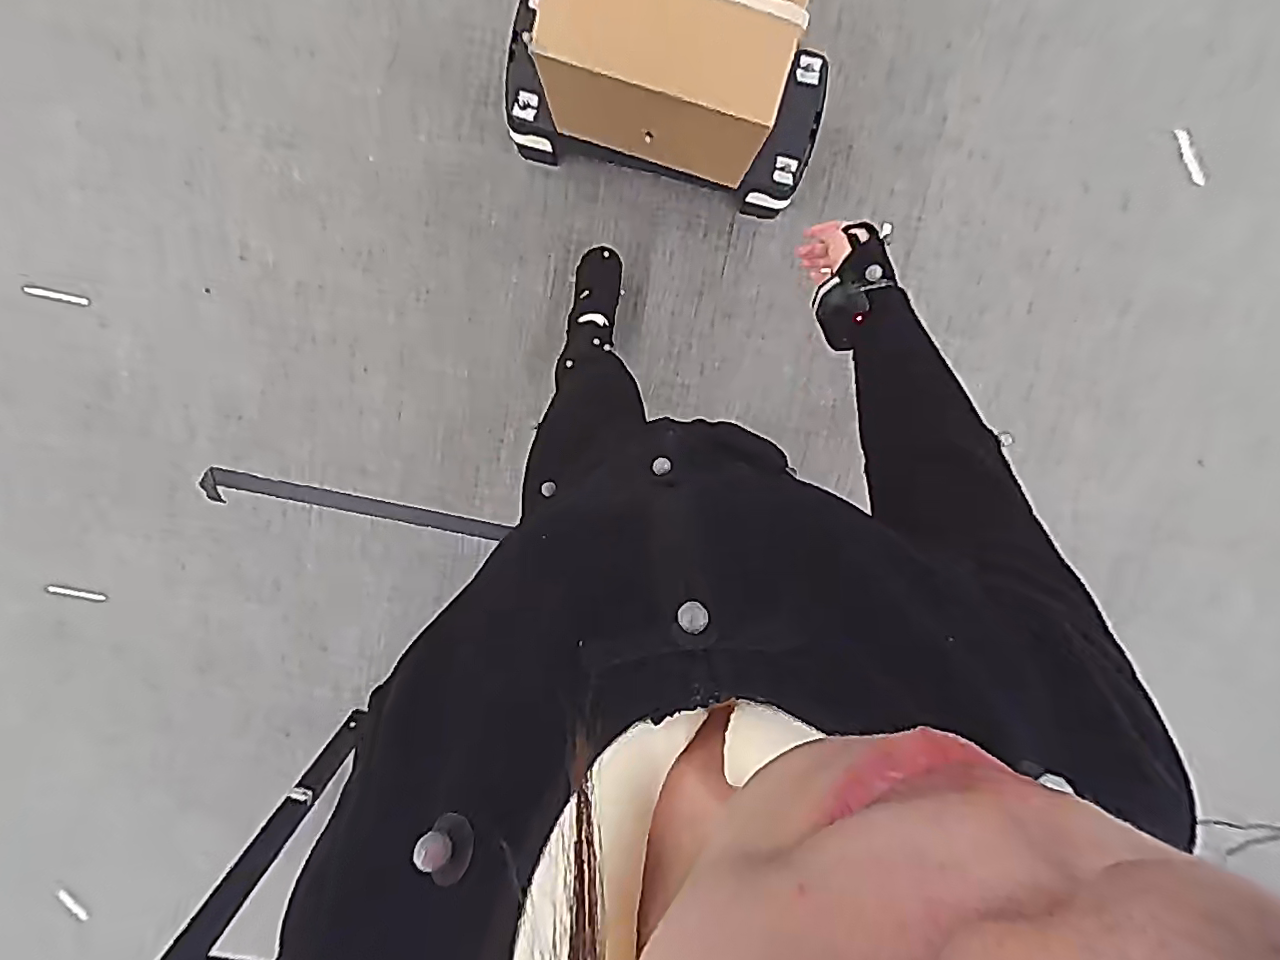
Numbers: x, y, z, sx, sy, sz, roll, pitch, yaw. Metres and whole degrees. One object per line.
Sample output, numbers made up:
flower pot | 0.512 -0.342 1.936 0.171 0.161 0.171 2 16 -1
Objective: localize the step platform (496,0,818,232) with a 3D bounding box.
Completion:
step platform | 0.035 -0.816 1.208 0.684 0.204 0.286 17 101 -3

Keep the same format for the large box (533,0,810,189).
large box | 0.061 -0.776 0.973 0.408 0.320 0.320 15 100 -3
